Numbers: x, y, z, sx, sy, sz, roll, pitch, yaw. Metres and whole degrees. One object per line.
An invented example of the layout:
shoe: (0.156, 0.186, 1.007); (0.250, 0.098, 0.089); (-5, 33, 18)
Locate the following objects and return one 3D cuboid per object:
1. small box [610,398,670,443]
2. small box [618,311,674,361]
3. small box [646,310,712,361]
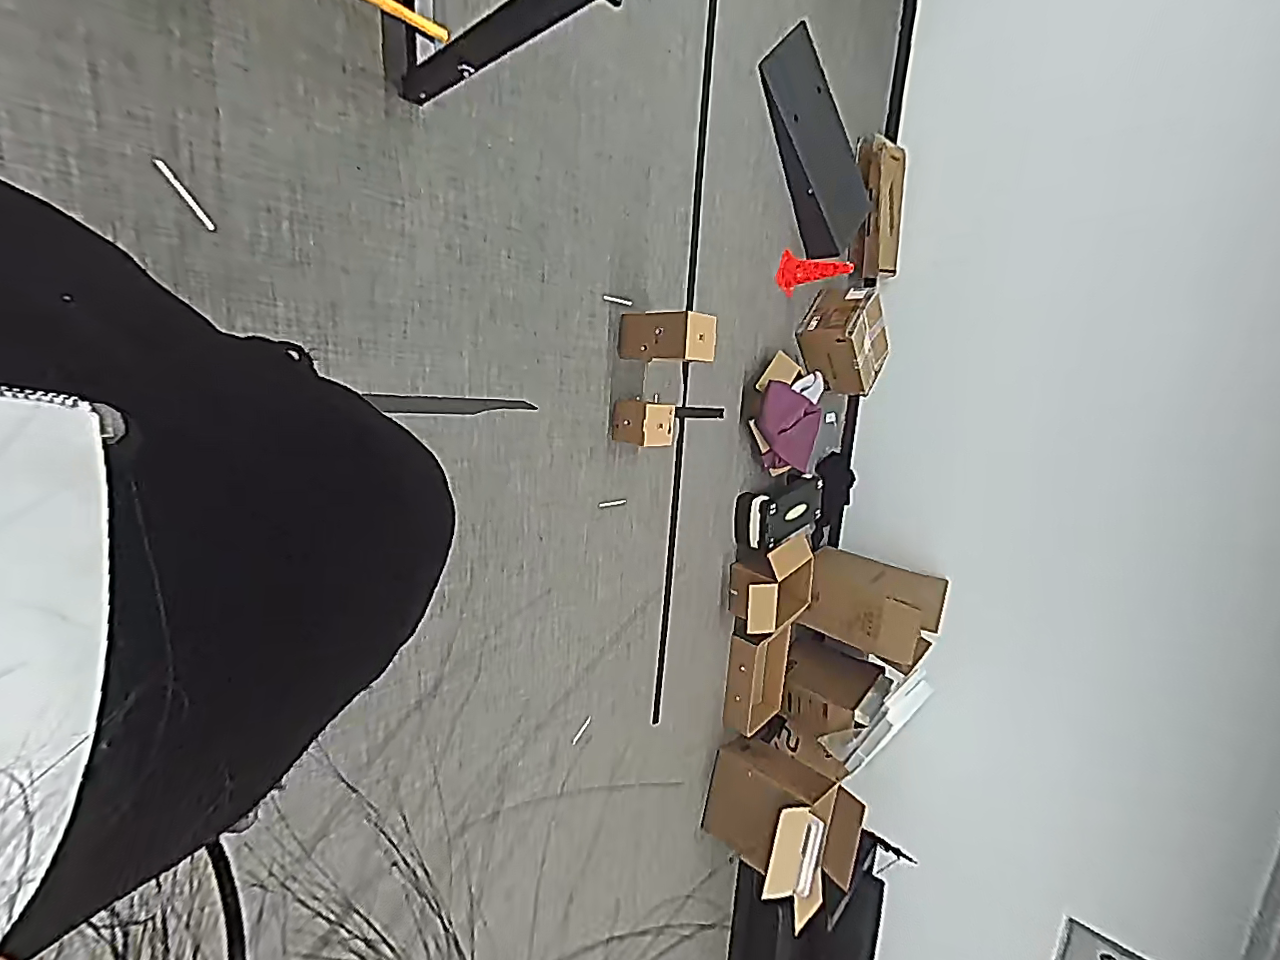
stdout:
small box: (-0.003, -0.238, 2.163); (0.179, 0.176, 0.168); (-6, 105, -47)
small box: (0.027, -0.558, 2.103); (0.168, 0.176, 0.179); (-11, 108, -47)
small box: (0.143, -0.531, 1.993); (0.179, 0.176, 0.168); (-9, 106, -46)
